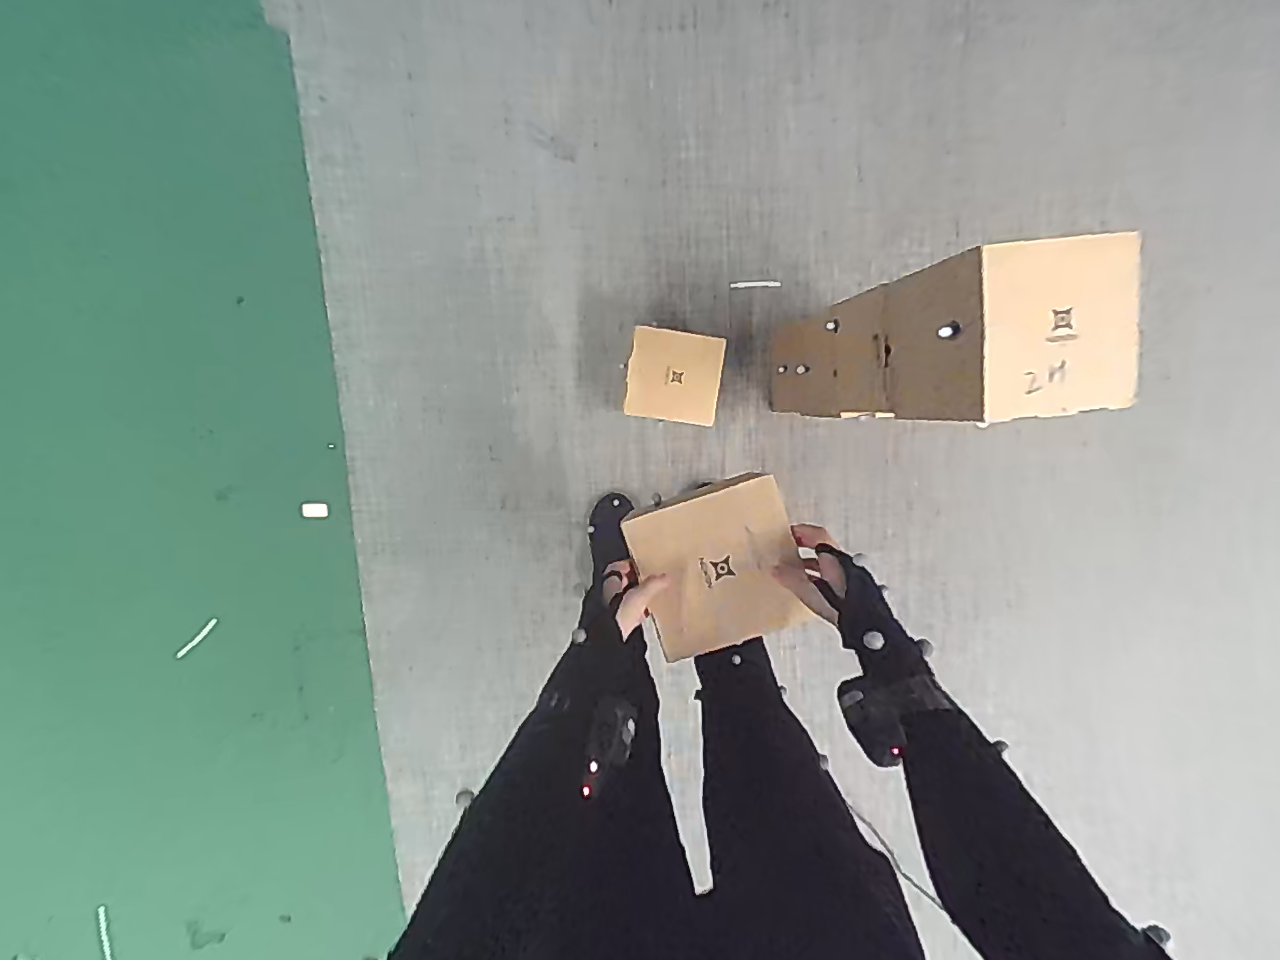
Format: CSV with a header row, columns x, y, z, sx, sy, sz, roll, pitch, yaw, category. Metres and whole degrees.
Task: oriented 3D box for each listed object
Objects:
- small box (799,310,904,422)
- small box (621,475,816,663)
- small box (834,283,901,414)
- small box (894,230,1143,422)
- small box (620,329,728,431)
x,y,z,sx,sy,sz,roll,pitch,yaw,category
0.385,-0.199,0.935,0.168,0.176,0.179,-6,99,-5,small box
0.089,0.097,0.662,0.179,0.176,0.168,-18,90,3,small box
0.390,-0.181,0.770,0.179,0.176,0.168,-5,98,-5,small box
0.406,-0.159,0.608,0.168,0.176,0.179,-6,98,-3,small box
0.060,-0.195,1.074,0.179,0.176,0.168,8,98,-5,small box
